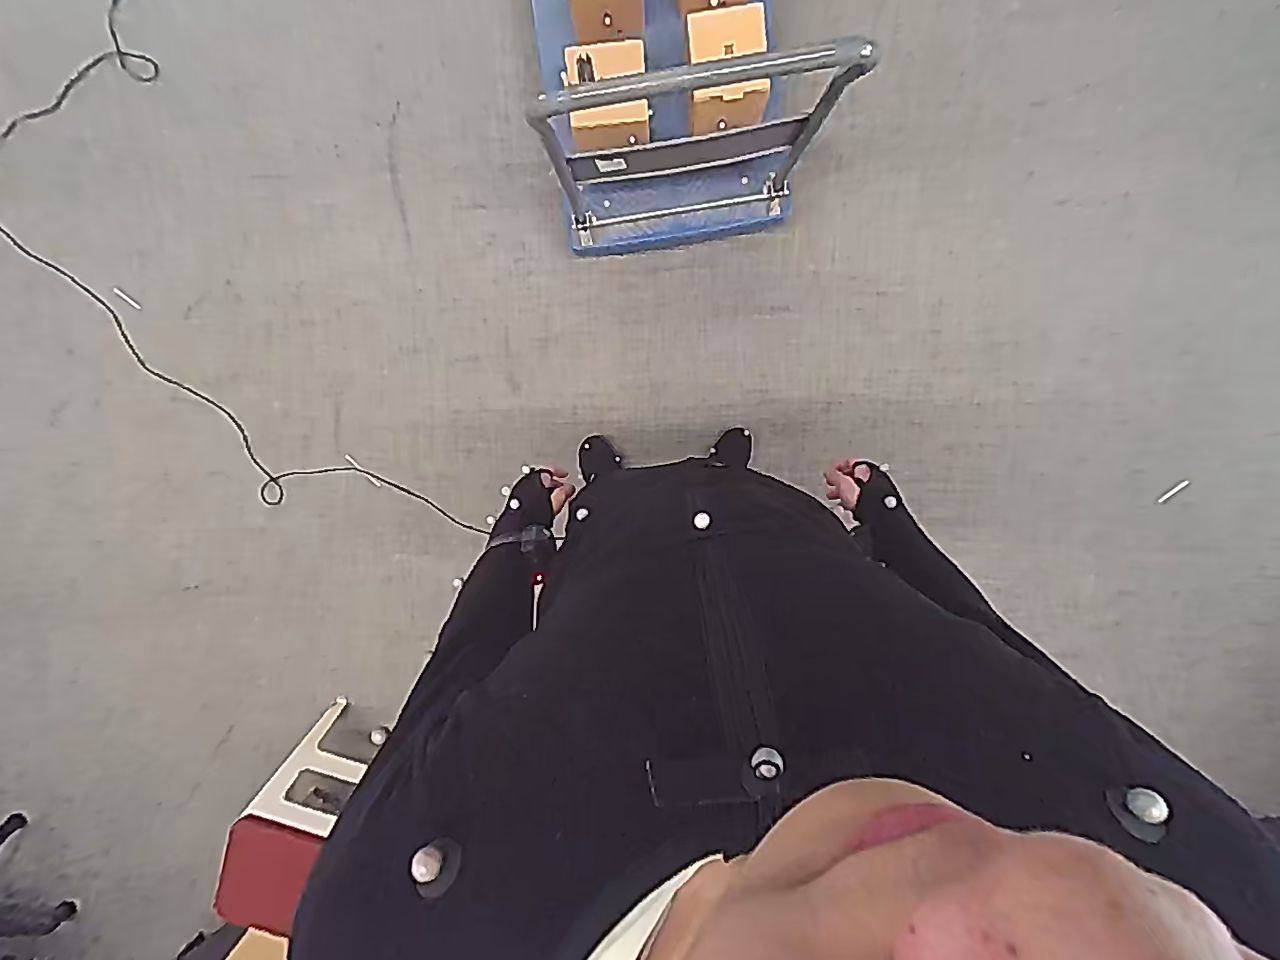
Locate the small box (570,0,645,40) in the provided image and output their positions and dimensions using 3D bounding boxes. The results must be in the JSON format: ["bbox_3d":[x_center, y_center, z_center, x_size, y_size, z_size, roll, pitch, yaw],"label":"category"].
[{"bbox_3d":[-0.085,-1.162,1.243,0.168,0.176,0.179,-11,97,4],"label":"small box"}]

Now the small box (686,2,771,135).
[{"bbox_3d":[0.199,-0.947,1.257,0.168,0.176,0.179,-7,98,4],"label":"small box"}]

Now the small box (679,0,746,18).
[{"bbox_3d":[0.161,-1.212,1.222,0.168,0.176,0.179,-11,98,5],"label":"small box"}]
